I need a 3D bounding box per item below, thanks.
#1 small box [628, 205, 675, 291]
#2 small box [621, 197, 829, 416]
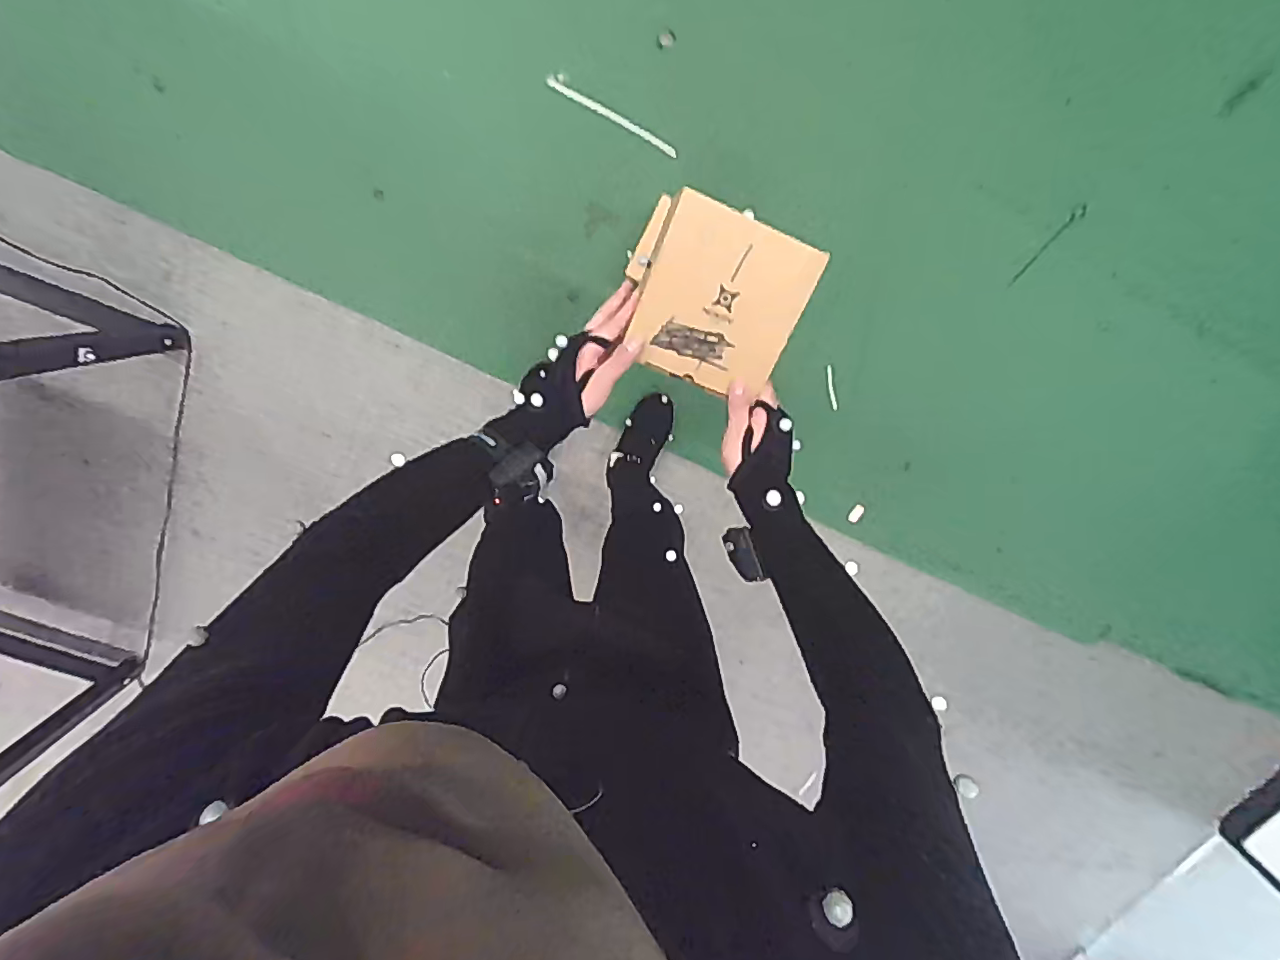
[{"bbox_3d":[0.079,-0.489,1.226,0.168,0.176,0.179,25,109,-9],"label":"small box"},{"bbox_3d":[0.086,-0.203,0.637,0.168,0.176,0.179,20,110,-10],"label":"small box"}]
